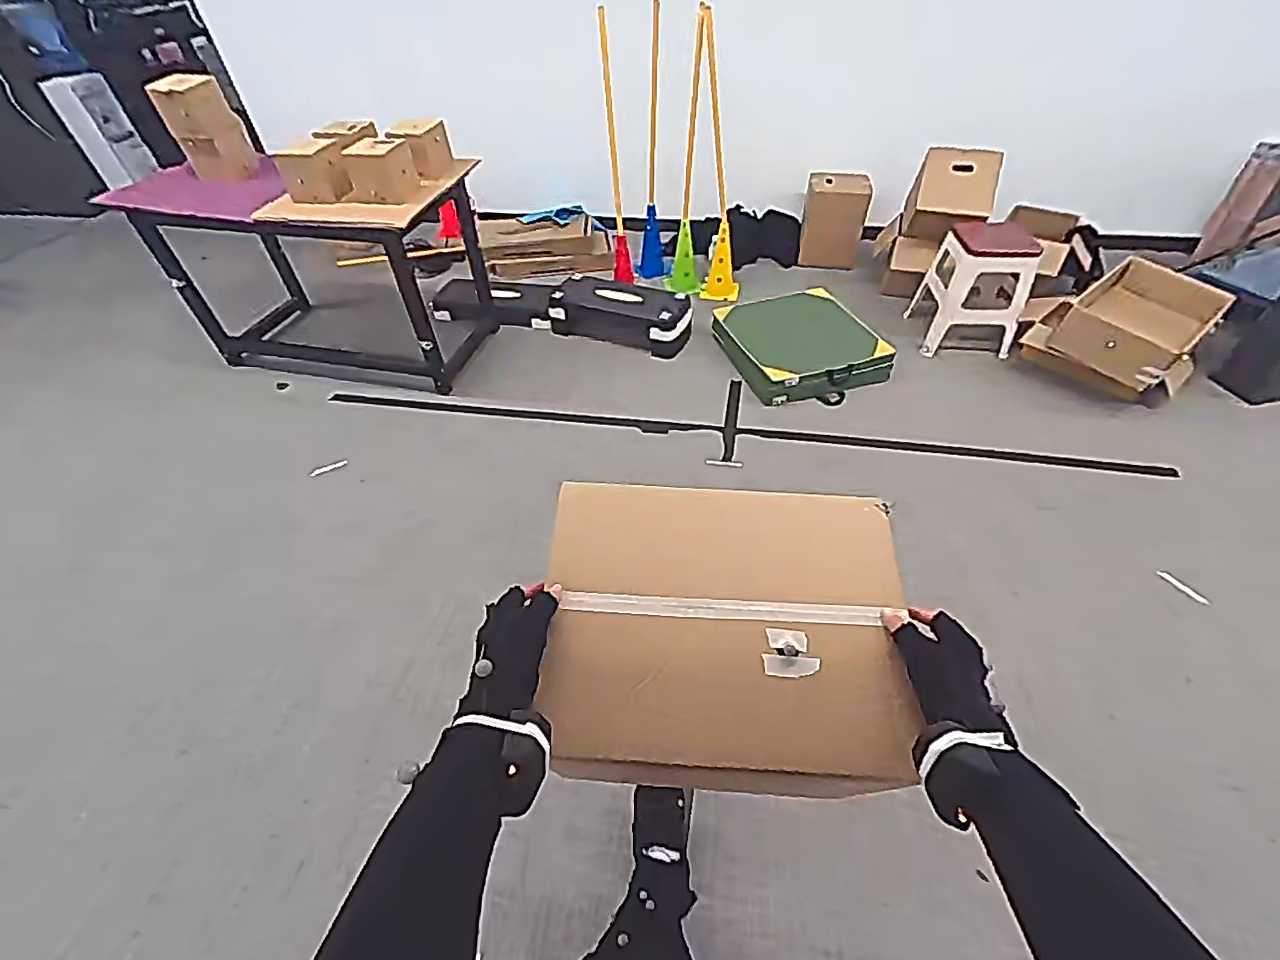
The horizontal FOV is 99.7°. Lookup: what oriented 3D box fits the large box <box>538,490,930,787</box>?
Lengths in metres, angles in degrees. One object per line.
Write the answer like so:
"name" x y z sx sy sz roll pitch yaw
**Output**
"large box" 0.097 0.229 0.744 0.408 0.320 0.320 3 58 2
